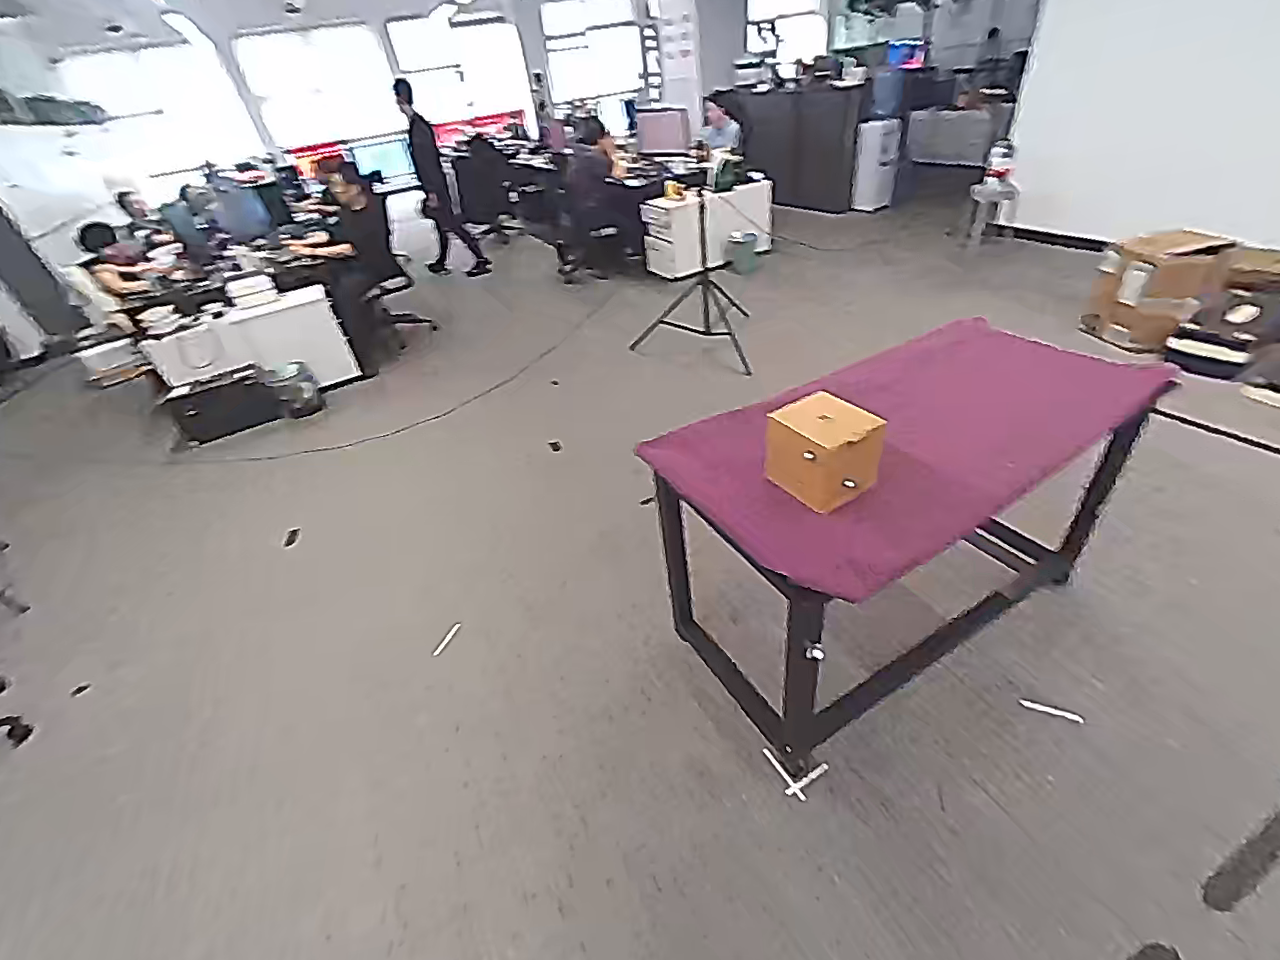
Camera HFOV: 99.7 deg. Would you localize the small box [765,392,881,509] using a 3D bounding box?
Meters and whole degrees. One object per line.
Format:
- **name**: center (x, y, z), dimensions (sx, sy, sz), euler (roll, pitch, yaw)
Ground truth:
- **small box**: center (0.387, -0.065, 1.178), dimensions (0.168, 0.176, 0.179), euler (-25, 40, -22)
